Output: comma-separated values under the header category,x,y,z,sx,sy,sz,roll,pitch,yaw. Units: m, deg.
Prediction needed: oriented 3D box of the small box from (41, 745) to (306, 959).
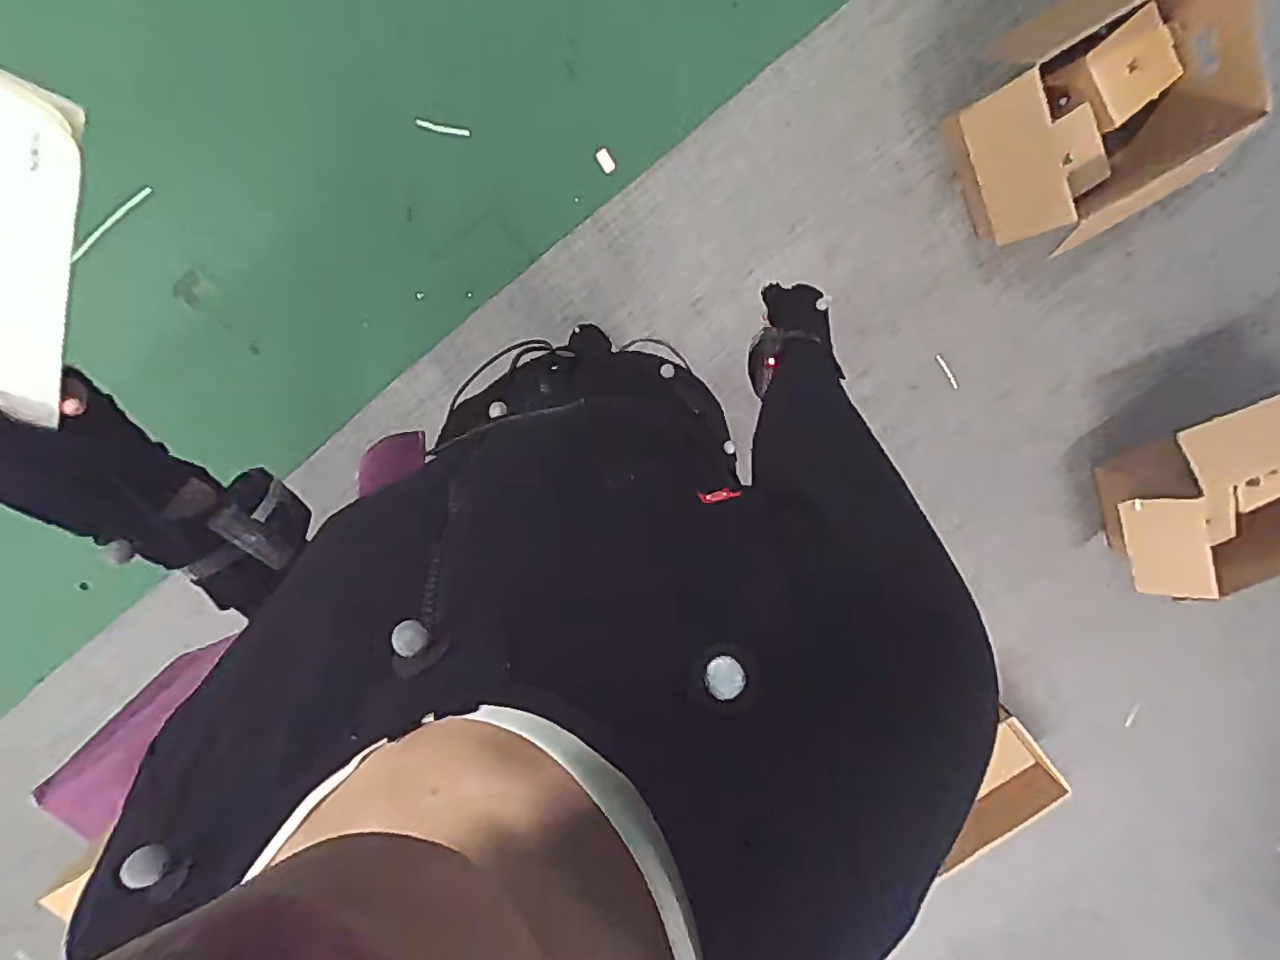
category,x,y,z,sx,sy,sz,roll,pitch,yaw
small box,-0.611,0.510,0.737,0.179,0.176,0.168,-31,106,5
